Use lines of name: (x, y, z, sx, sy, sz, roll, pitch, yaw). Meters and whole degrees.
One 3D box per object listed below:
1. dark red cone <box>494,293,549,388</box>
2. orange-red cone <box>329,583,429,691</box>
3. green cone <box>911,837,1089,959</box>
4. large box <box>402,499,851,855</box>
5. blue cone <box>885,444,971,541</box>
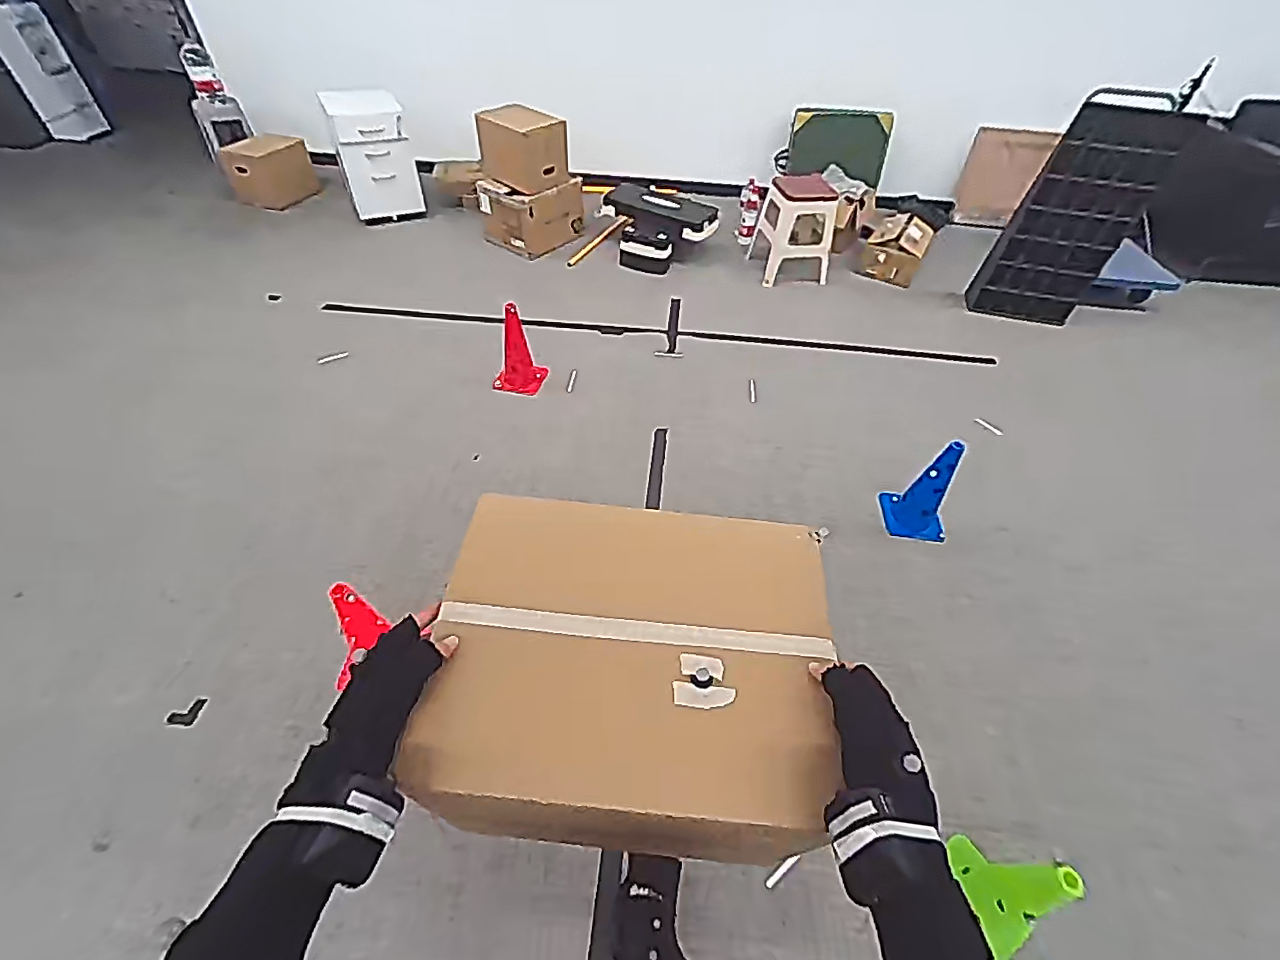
dark red cone: (-0.505, -0.582, 2.238, 0.201, 0.394, 0.202, 11, 48, 5)
orange-red cone: (-0.701, 0.372, 1.376, 0.198, 0.360, 0.199, 3, 49, 1)
green cone: (0.737, 0.812, 1.055, 0.202, 0.368, 0.200, -22, 53, -24)
large box: (-0.012, 0.252, 0.676, 0.408, 0.320, 0.320, 6, 51, 0)
blue cone: (0.996, 0.024, 1.825, 0.192, 0.380, 0.193, 9, 48, 3)
